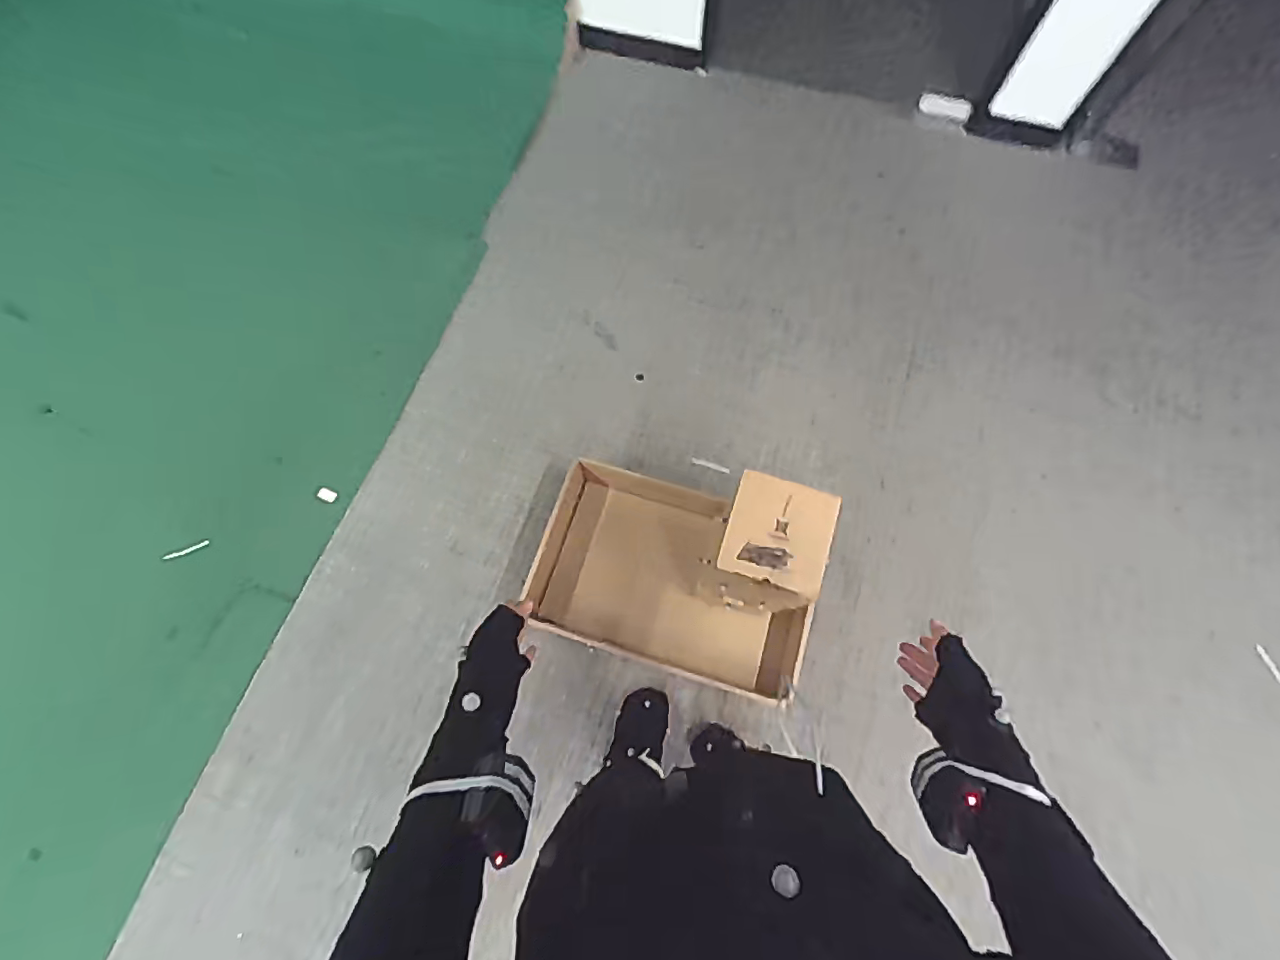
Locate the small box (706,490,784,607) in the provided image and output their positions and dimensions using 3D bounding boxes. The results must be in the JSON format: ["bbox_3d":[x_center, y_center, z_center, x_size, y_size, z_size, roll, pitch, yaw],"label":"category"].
[{"bbox_3d":[0.233,0.144,1.081,0.168,0.176,0.179,17,73,7],"label":"small box"}]

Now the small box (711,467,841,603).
[{"bbox_3d":[0.226,0.104,0.939,0.168,0.176,0.179,18,73,6],"label":"small box"}]

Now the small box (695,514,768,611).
[{"bbox_3d":[0.223,0.198,1.255,0.168,0.176,0.179,12,72,7],"label":"small box"}]
